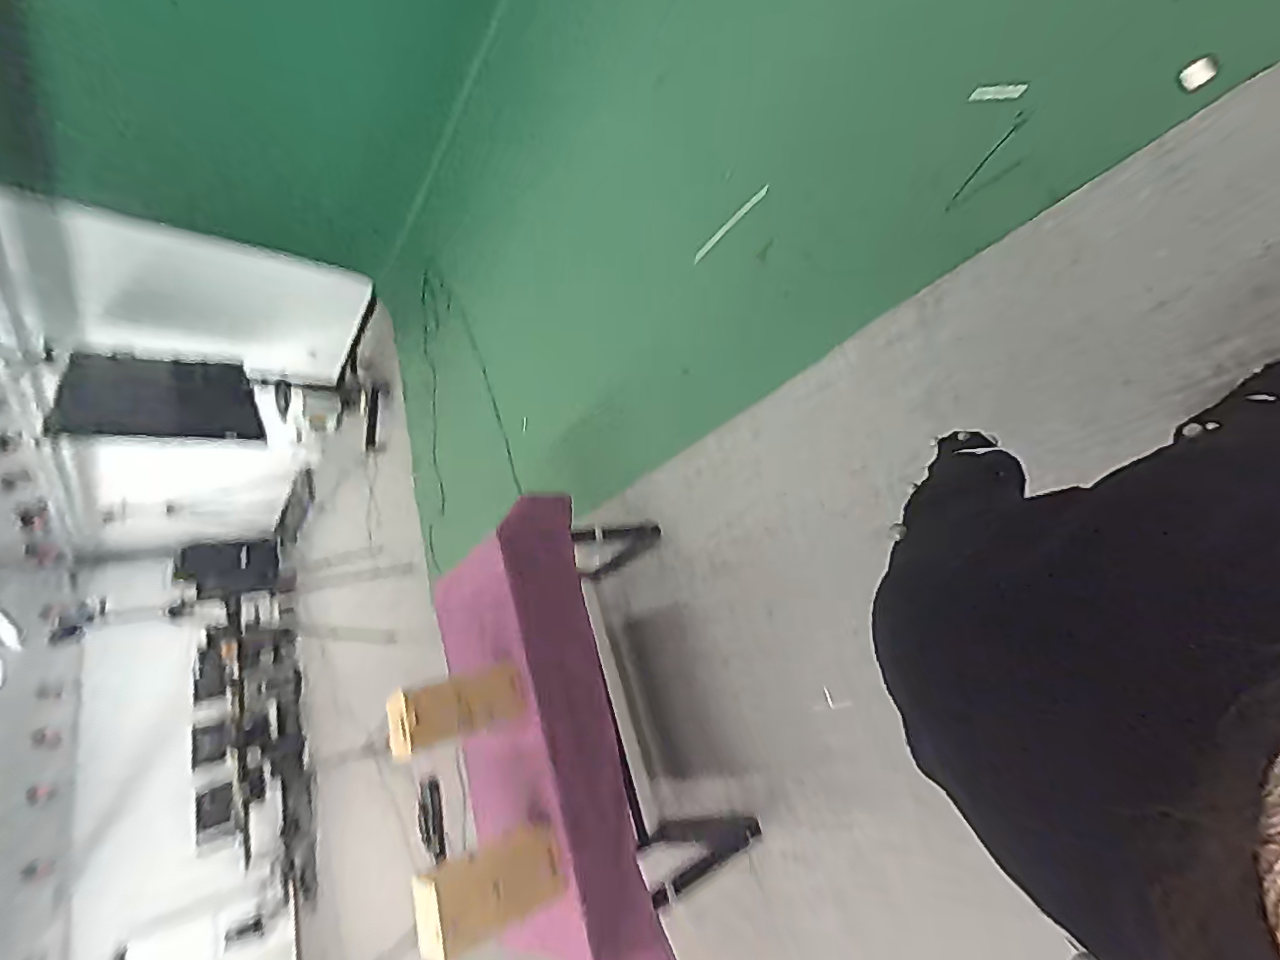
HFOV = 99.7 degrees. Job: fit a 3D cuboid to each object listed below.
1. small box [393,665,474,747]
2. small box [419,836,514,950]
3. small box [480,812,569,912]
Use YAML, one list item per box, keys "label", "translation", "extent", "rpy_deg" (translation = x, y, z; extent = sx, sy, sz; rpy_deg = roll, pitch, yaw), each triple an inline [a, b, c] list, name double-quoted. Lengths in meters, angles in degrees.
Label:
- label: "small box"
  translation: [-0.584, 0.641, 1.539]
  extent: [0.179, 0.176, 0.168]
  rpy_deg: [-39, 62, 44]
- label: "small box"
  translation: [-0.443, 1.037, 1.378]
  extent: [0.179, 0.176, 0.168]
  rpy_deg: [-31, 69, 46]
- label: "small box"
  translation: [-0.318, 1.037, 1.487]
  extent: [0.179, 0.176, 0.168]
  rpy_deg: [-30, 68, 44]
